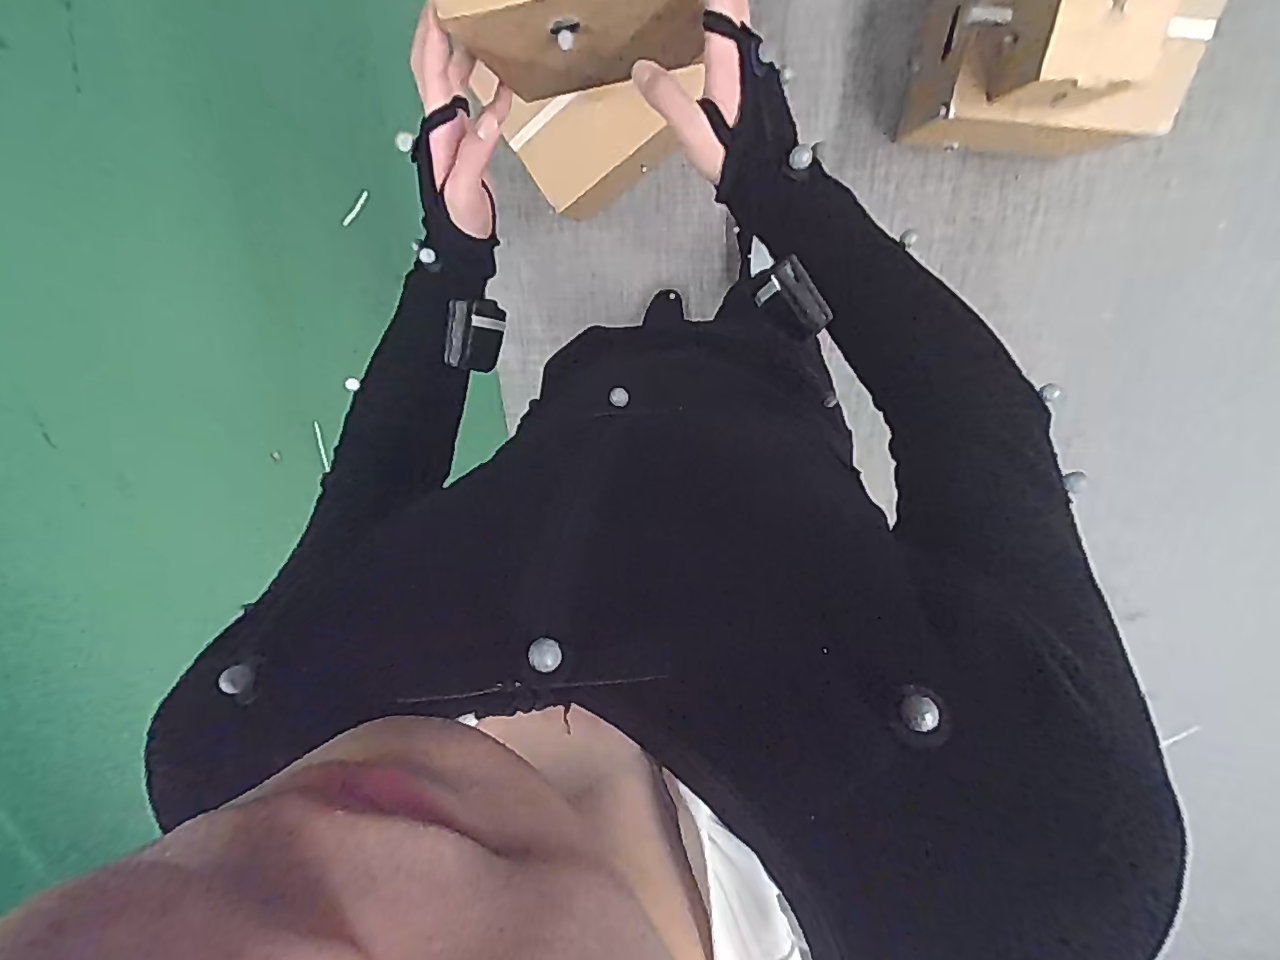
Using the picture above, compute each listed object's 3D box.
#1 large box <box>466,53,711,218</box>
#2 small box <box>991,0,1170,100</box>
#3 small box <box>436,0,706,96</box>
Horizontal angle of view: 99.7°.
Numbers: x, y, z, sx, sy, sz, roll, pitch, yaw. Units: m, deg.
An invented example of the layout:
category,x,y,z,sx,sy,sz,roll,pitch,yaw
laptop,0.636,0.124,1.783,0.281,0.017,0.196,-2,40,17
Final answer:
category,x,y,z,sx,sy,sz,roll,pitch,yaw
large box,-0.091,-0.849,1.200,0.408,0.320,0.320,-31,105,18
small box,0.713,-0.743,0.885,0.168,0.176,0.179,5,115,4
small box,-0.047,-0.413,0.396,0.179,0.176,0.168,-5,109,9
